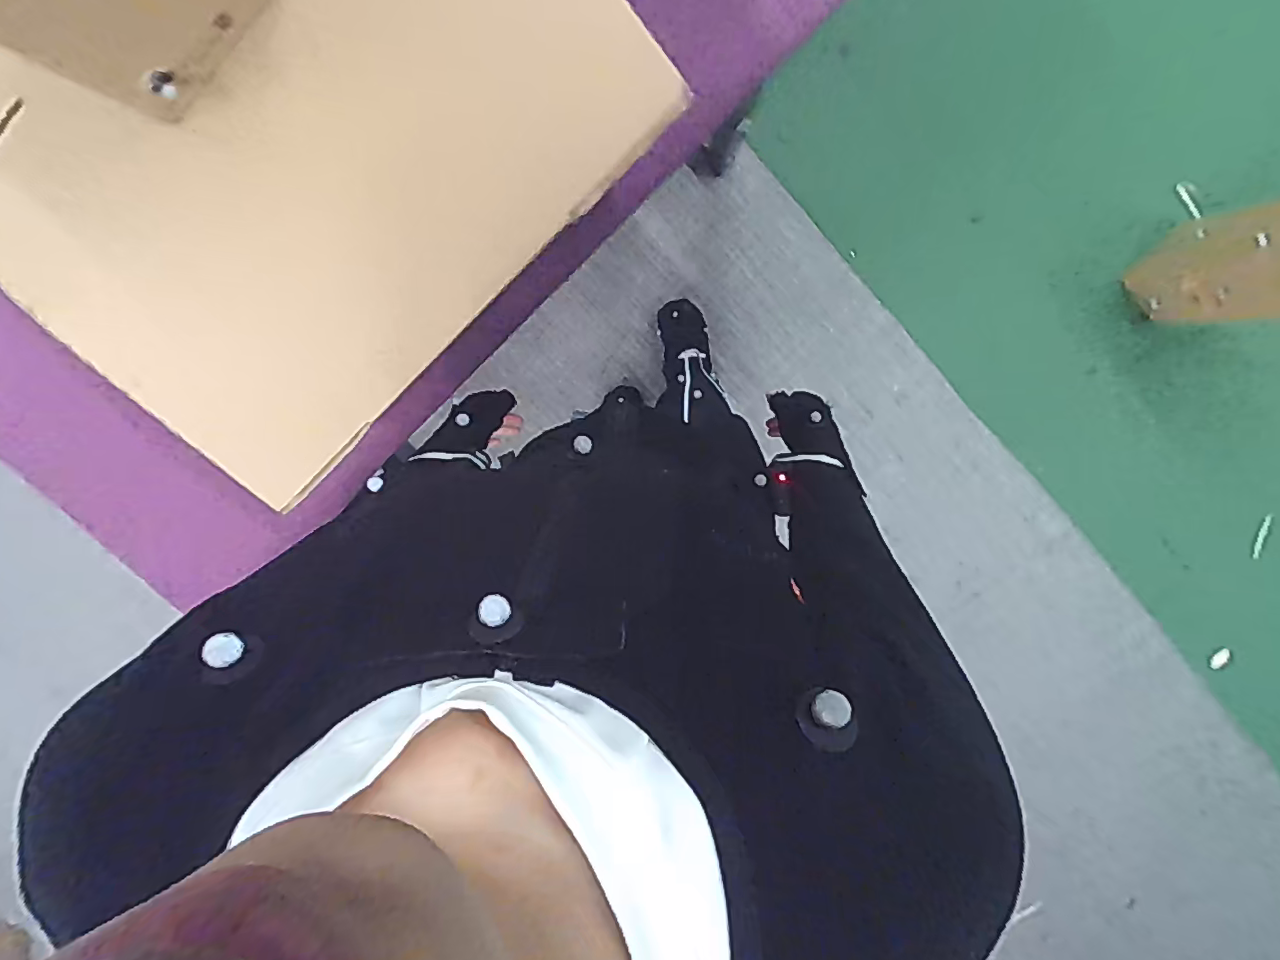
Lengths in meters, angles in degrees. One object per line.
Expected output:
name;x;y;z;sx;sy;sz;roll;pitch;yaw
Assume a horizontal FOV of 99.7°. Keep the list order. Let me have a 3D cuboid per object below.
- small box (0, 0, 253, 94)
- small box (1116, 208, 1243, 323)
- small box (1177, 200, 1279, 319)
small box;-0.421;-0.420;0.380;0.168;0.176;0.179;-41;97;11
small box;1.273;-0.483;1.244;0.168;0.176;0.179;44;101;-8
small box;1.268;-0.445;1.086;0.168;0.176;0.179;42;103;-9
